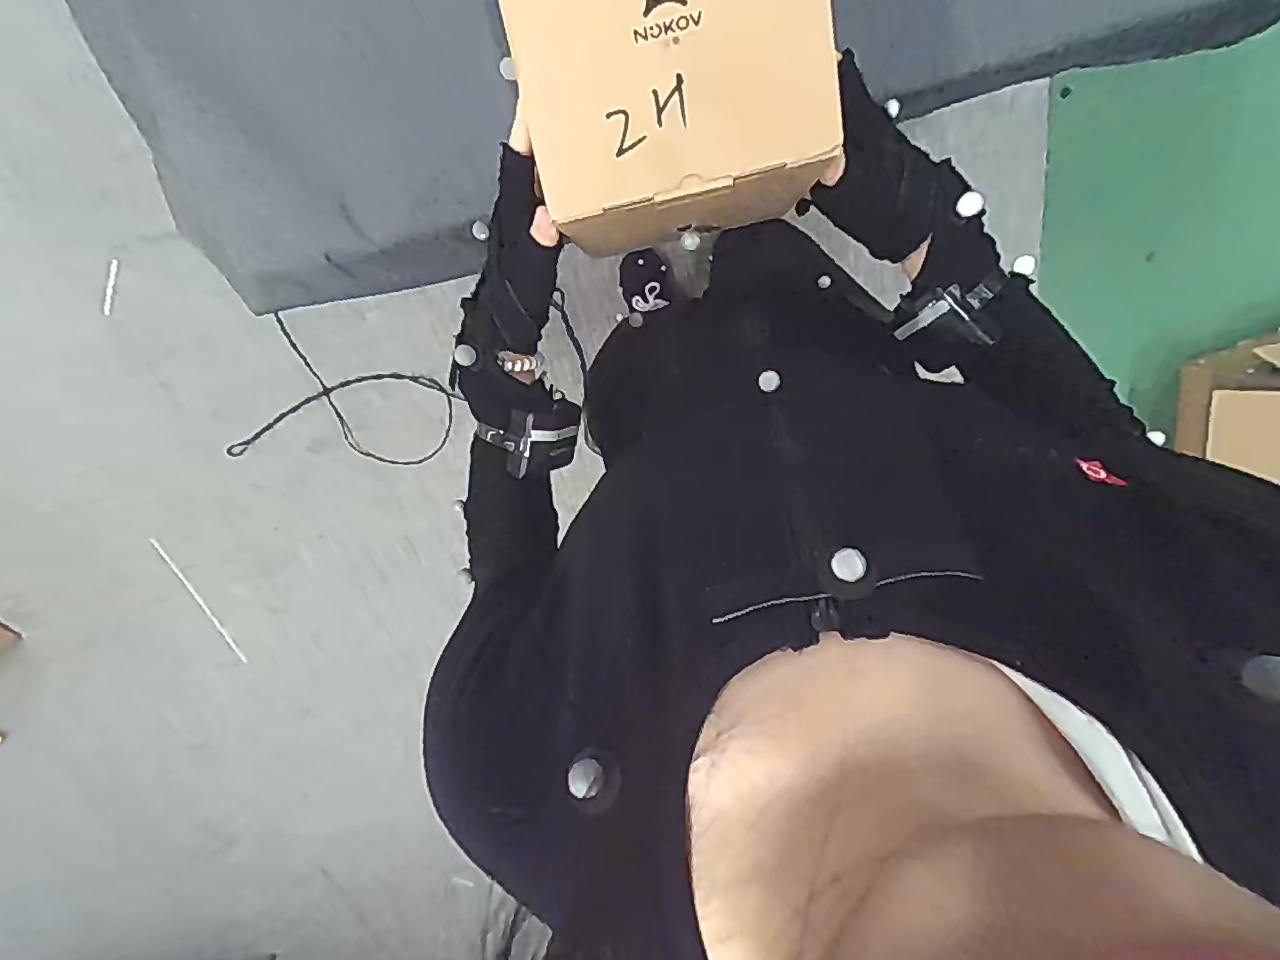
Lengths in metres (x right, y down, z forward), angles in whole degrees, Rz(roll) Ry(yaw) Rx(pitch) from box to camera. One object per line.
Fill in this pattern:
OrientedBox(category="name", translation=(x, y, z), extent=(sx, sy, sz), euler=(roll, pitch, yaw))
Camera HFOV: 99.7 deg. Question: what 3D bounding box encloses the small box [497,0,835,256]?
OrientedBox(category="small box", translation=(0.014, -0.262, 0.353), extent=(0.168, 0.176, 0.179), euler=(-10, 106, 7))
